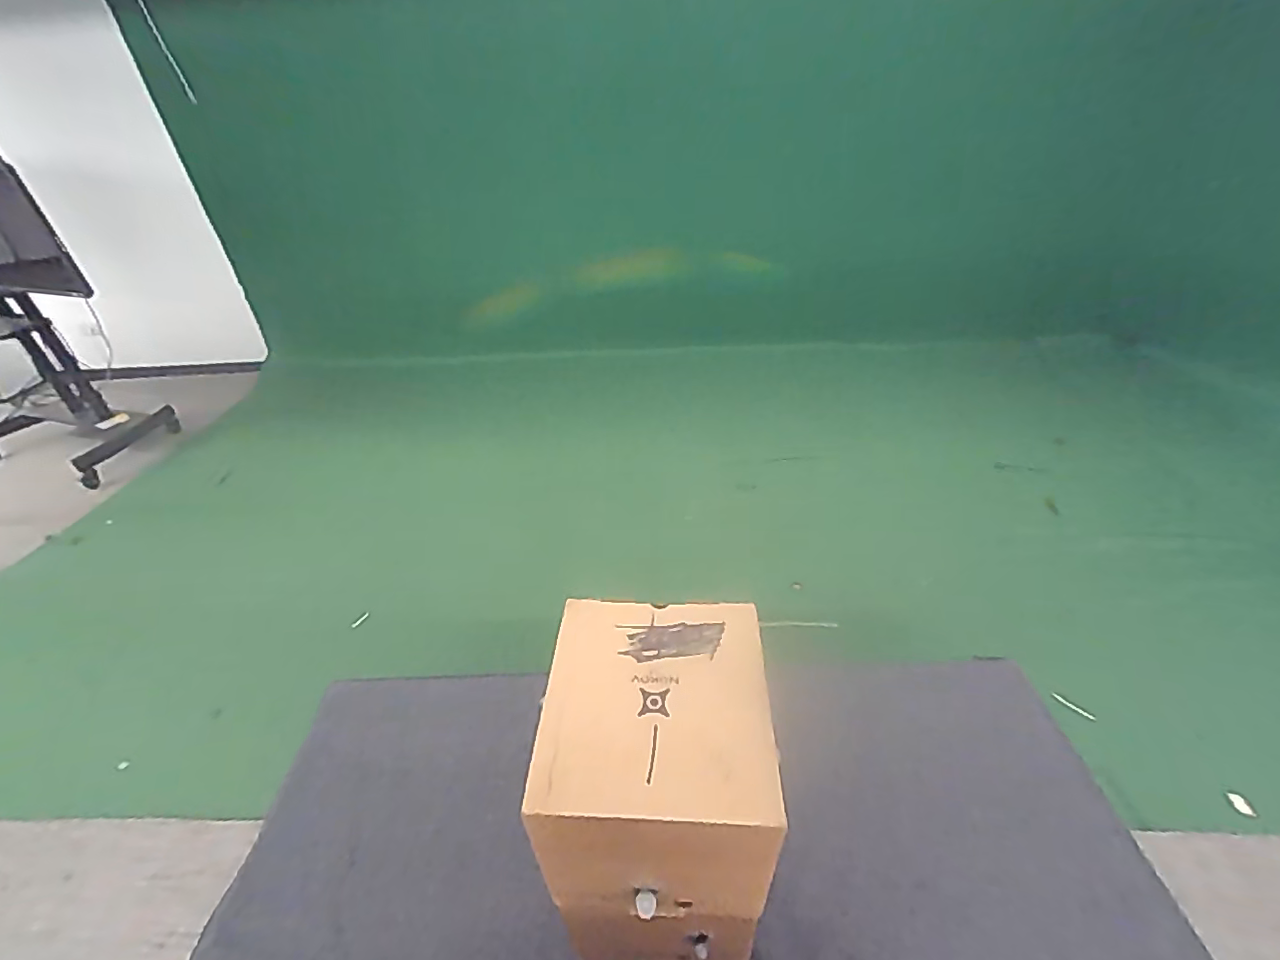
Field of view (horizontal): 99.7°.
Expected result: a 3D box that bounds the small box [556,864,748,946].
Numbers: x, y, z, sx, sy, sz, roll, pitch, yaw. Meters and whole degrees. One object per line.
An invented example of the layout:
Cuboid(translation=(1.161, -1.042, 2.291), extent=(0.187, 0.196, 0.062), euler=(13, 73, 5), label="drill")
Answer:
Cuboid(translation=(0.020, 0.341, 0.549), extent=(0.168, 0.176, 0.179), euler=(0, 36, 3), label="small box")

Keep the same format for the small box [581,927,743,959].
Cuboid(translation=(0.032, 0.470, 0.647), extent=(0.168, 0.176, 0.179), euler=(-1, 38, 4), label="small box")

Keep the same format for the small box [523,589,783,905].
Cuboid(translation=(0.015, 0.214, 0.446), extent=(0.168, 0.176, 0.179), euler=(0, 38, 5), label="small box")
